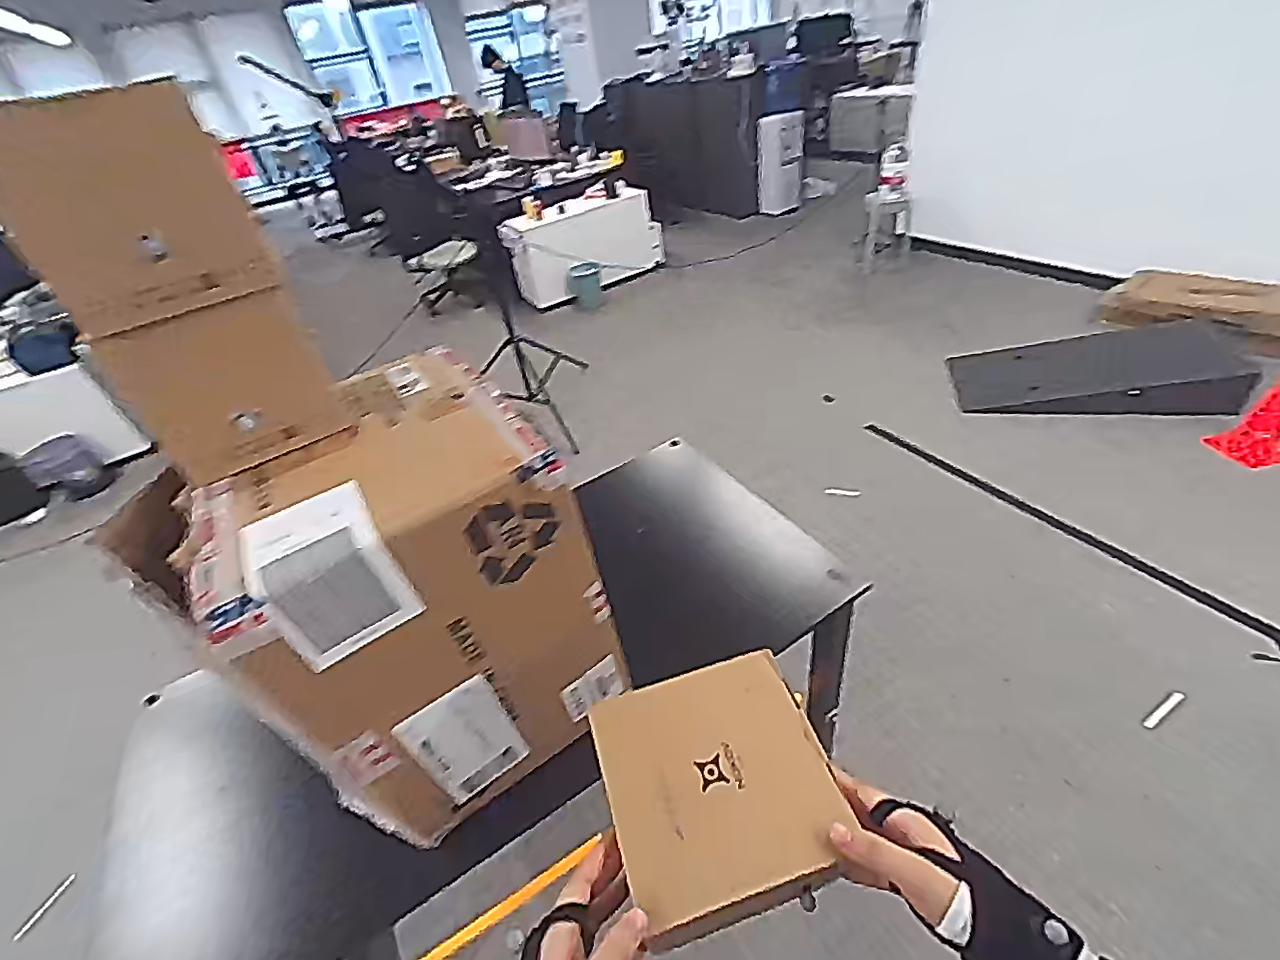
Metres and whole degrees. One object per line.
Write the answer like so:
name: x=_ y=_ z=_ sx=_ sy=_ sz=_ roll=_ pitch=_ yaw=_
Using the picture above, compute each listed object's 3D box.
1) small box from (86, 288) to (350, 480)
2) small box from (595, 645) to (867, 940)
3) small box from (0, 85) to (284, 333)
small box: x=-0.465 y=-0.126 z=0.619 sx=0.168 sy=0.176 sz=0.179 roll=-30 pitch=41 yaw=-24
small box: x=0.069 y=0.284 z=0.494 sx=0.179 sy=0.176 sz=0.168 roll=-16 pitch=46 yaw=-8
small box: x=-0.479 y=-0.256 z=0.518 sx=0.168 sy=0.176 sz=0.179 roll=-31 pitch=41 yaw=-25
